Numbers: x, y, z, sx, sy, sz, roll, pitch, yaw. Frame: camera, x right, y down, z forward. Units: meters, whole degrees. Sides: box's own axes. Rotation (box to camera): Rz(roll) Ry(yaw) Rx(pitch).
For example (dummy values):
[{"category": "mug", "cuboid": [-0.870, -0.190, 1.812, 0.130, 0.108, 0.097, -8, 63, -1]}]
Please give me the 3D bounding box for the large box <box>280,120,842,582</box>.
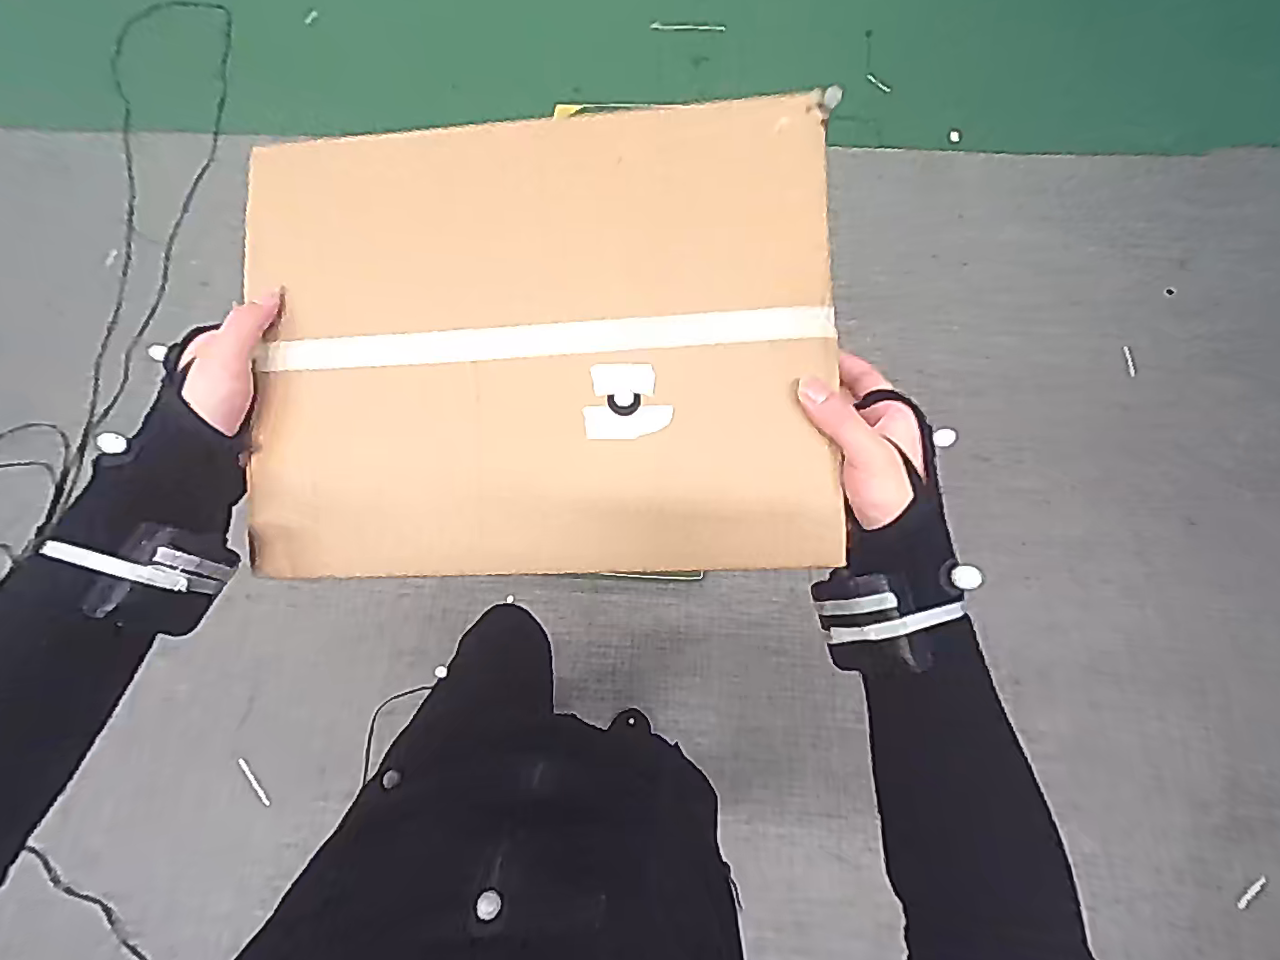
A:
[{"category": "large box", "cuboid": [-0.057, -0.082, 0.534, 0.408, 0.320, 0.320, -3, 88, 5]}]
